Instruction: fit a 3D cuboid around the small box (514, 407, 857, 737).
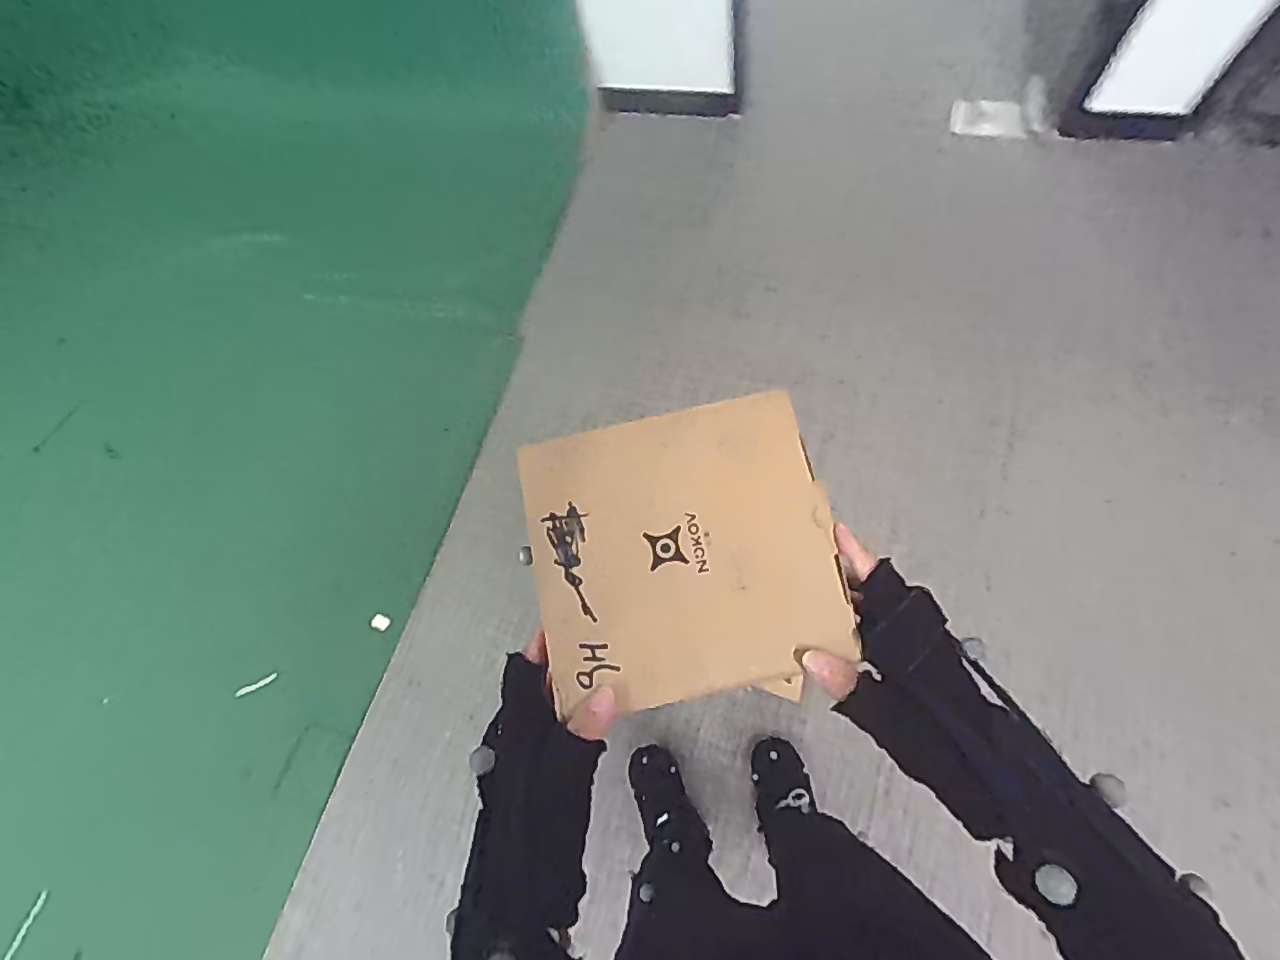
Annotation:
[{"bbox_3d":[0.025,0.067,0.398,0.179,0.176,0.168,-13,76,0],"label":"small box"}]
